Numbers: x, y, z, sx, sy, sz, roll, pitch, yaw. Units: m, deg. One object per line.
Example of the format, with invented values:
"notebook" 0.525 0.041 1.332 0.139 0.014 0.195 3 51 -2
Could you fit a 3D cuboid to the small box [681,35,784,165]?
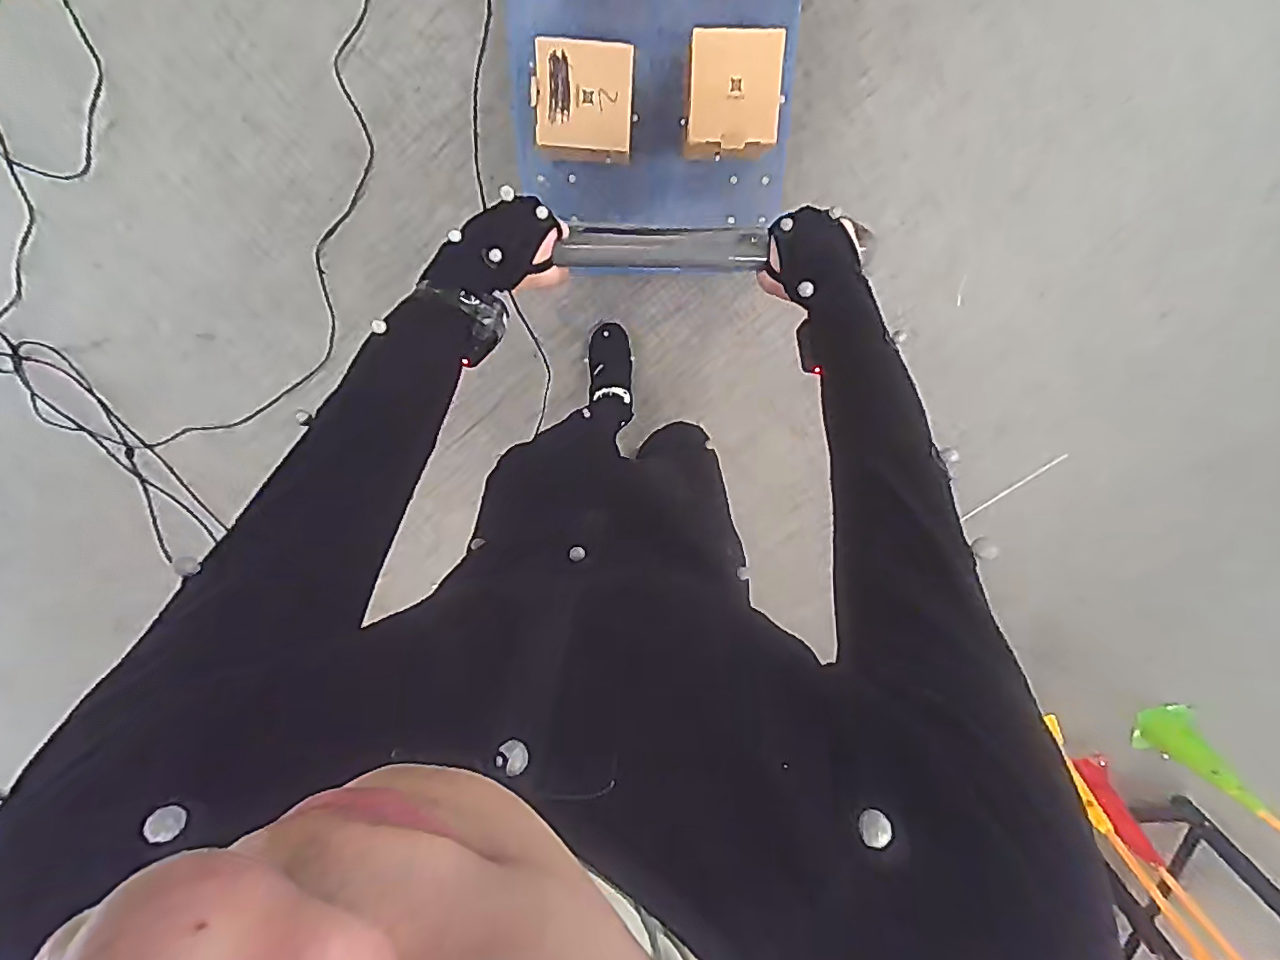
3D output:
"small box" 0.170 -0.730 1.054 0.168 0.176 0.179 0 113 -1
